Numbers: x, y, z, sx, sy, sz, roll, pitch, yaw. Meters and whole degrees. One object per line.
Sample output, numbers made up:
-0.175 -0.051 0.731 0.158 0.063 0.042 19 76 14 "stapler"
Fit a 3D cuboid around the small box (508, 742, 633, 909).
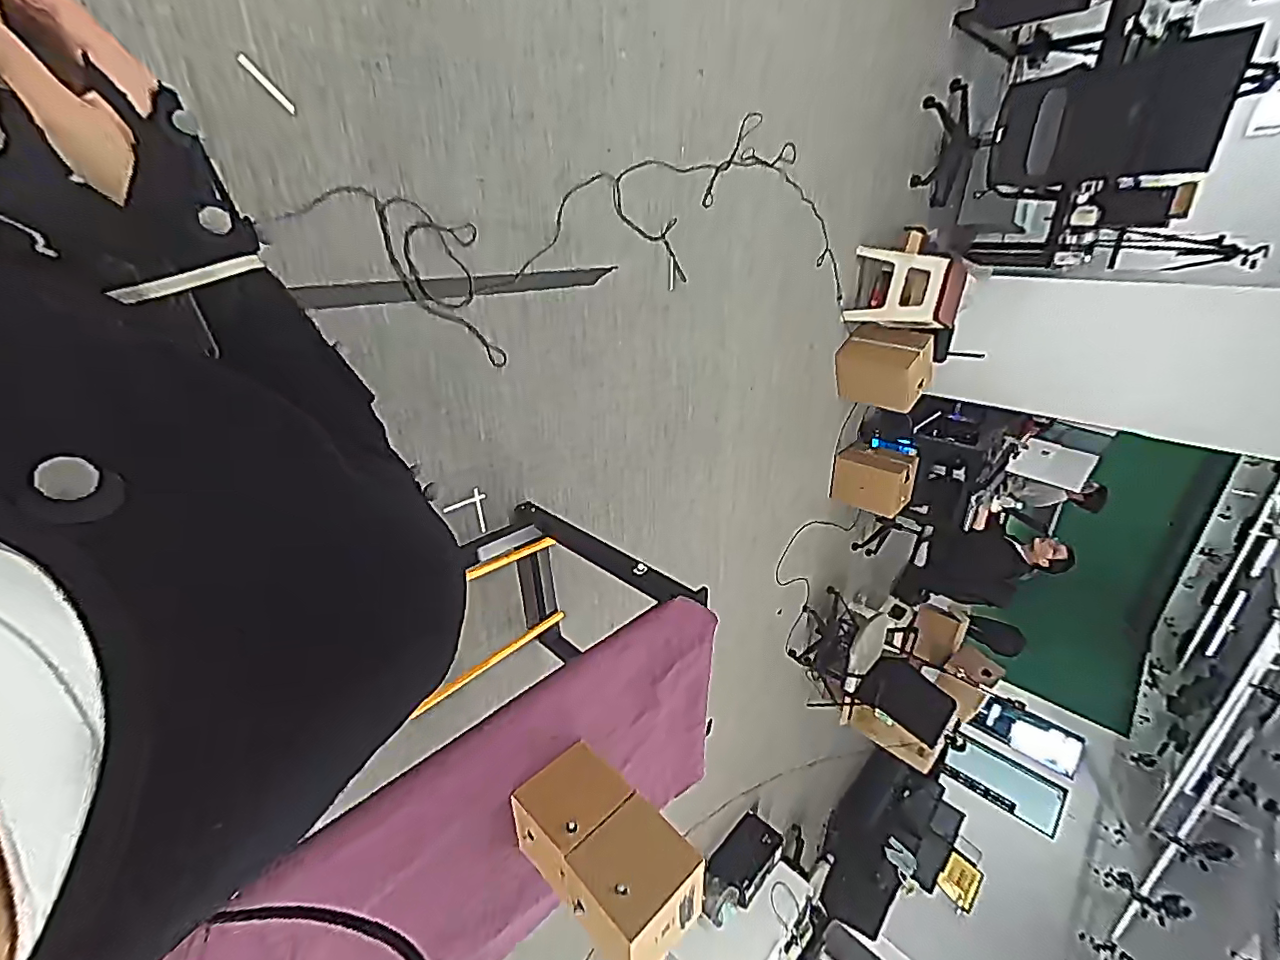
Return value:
-0.132 0.655 1.049 0.179 0.176 0.168 -23 123 -40 "small box"
